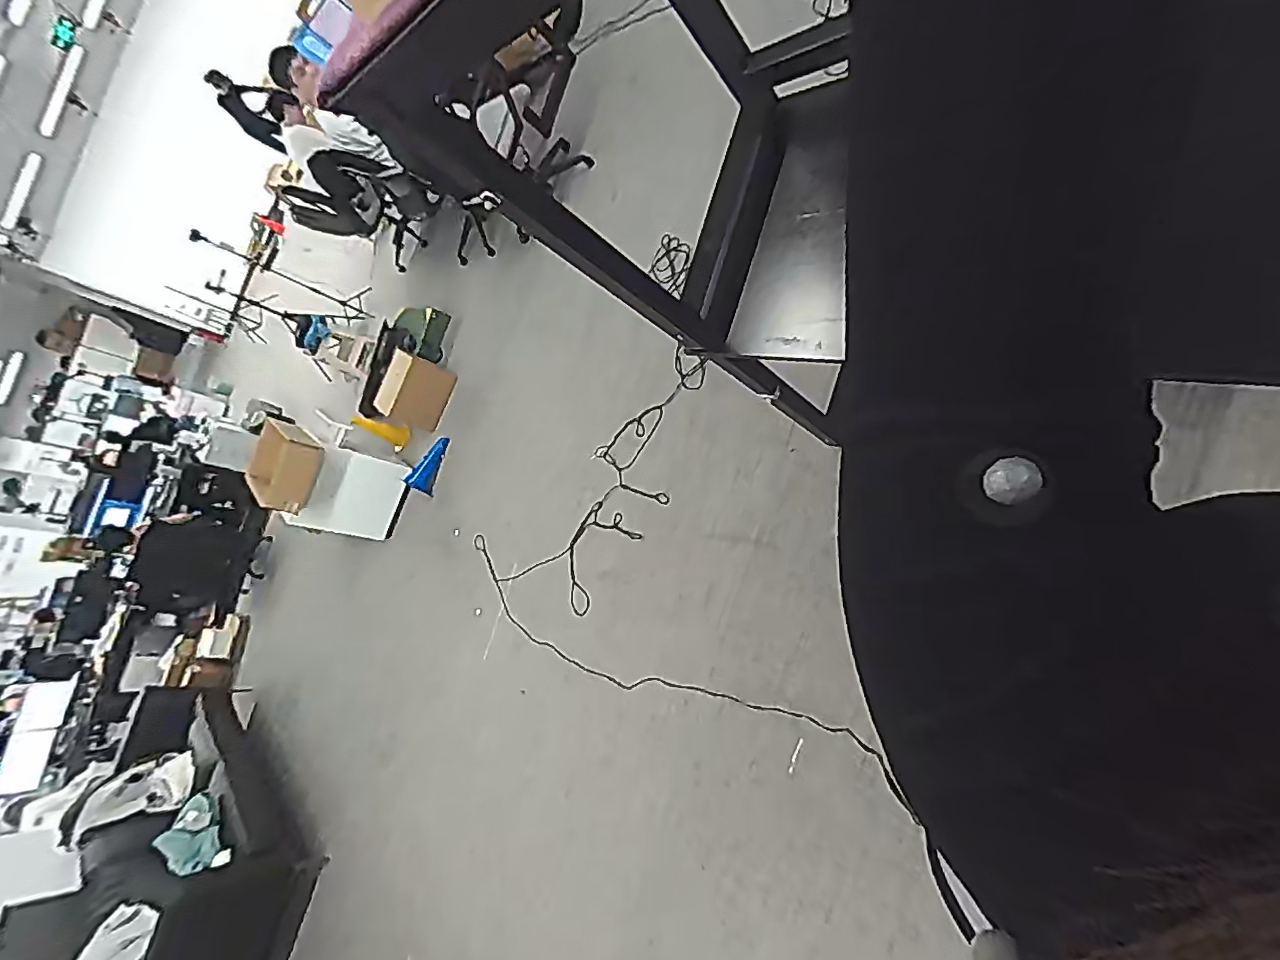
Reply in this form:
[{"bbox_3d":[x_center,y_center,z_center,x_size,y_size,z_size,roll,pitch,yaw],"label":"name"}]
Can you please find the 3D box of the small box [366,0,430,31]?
[{"bbox_3d":[-0.231,-0.561,0.471,0.168,0.176,0.179,15,85,44],"label":"small box"}]
